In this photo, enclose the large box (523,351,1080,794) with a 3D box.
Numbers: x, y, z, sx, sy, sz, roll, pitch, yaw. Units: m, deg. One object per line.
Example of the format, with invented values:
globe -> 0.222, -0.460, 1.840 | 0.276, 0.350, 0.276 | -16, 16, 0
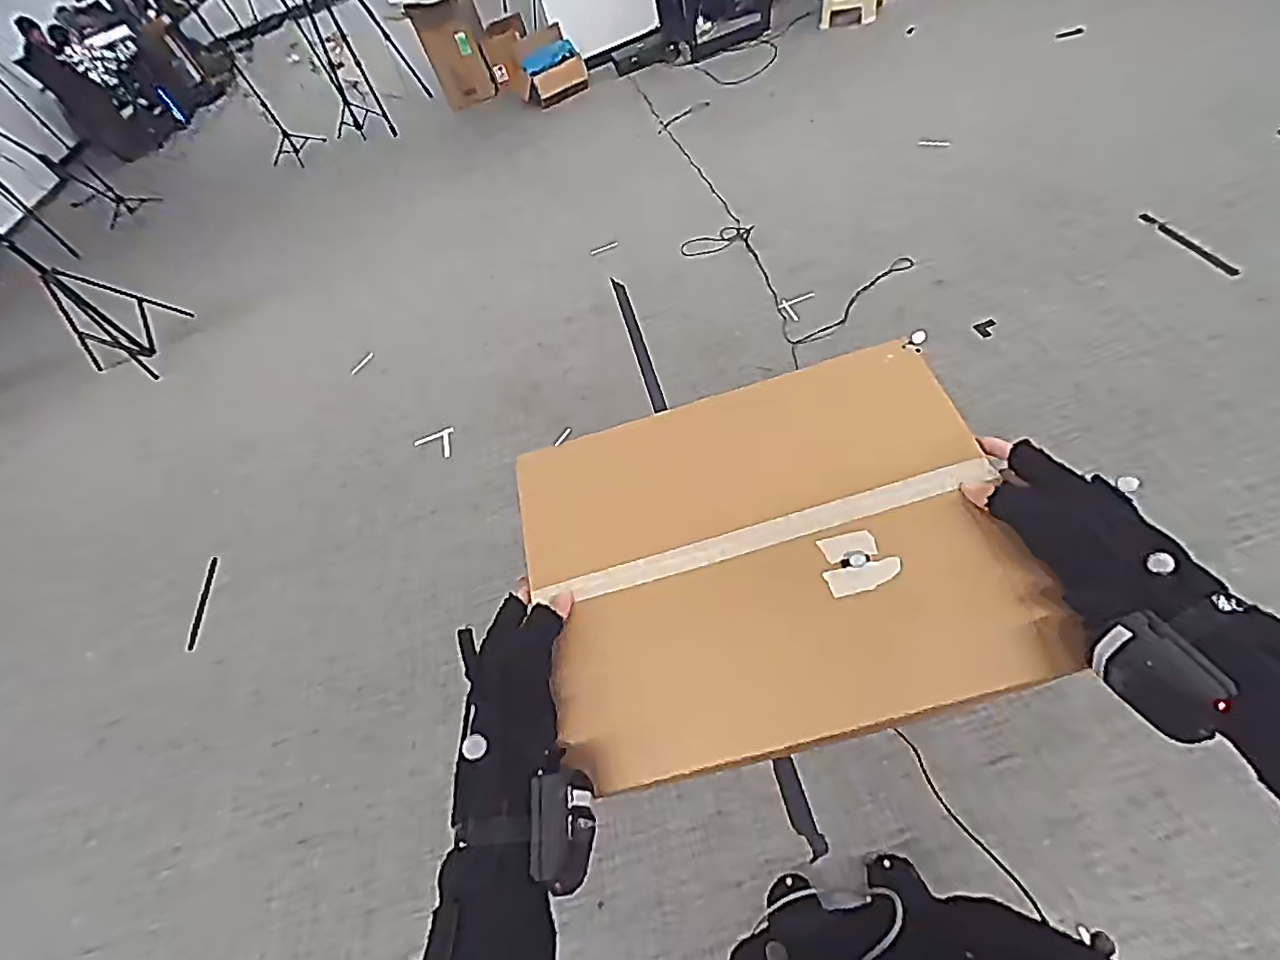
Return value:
large box -> 0.127, 0.124, 0.605 | 0.408, 0.320, 0.320 | -17, 60, 3
